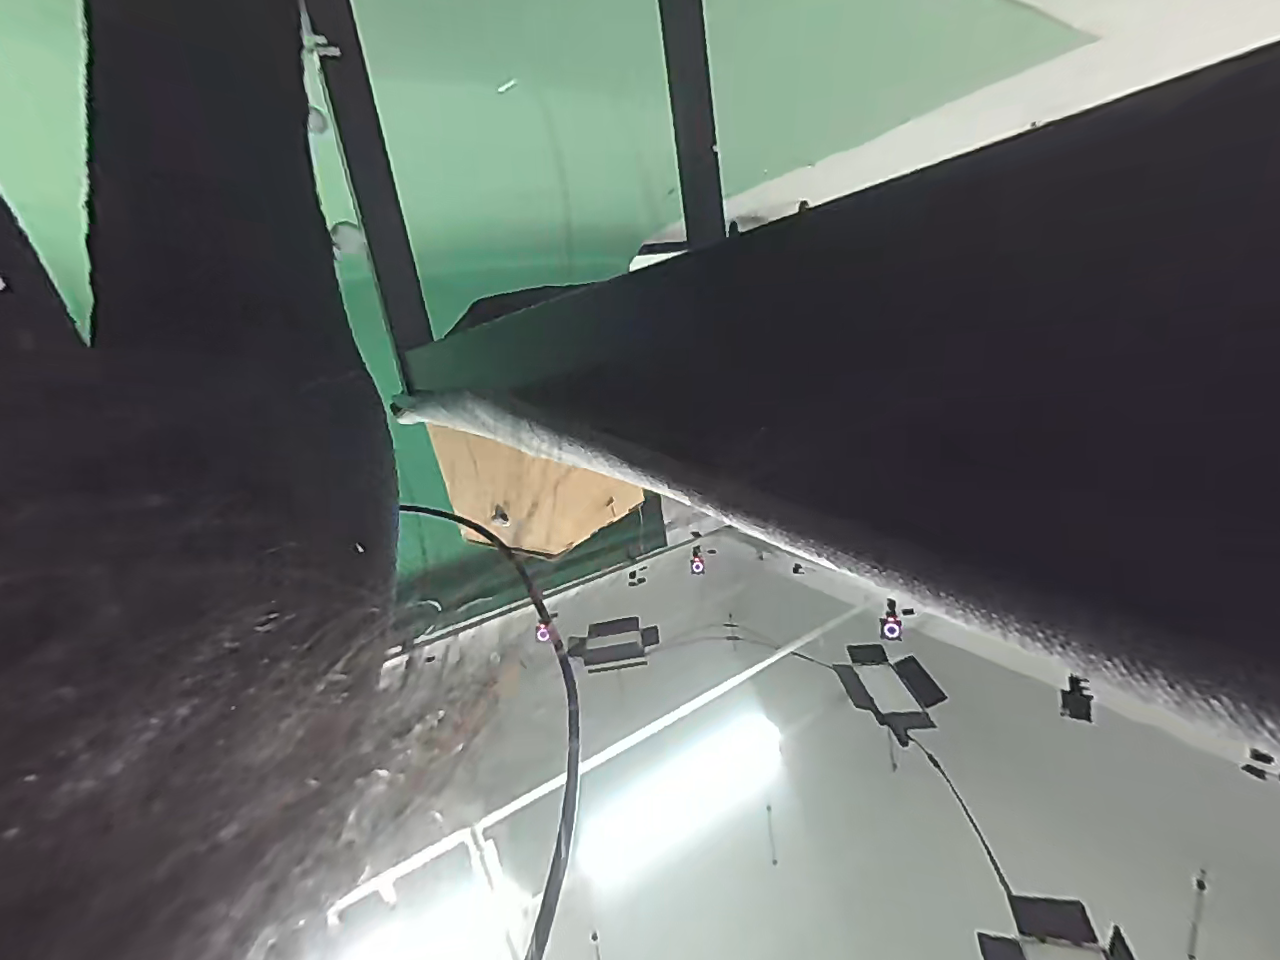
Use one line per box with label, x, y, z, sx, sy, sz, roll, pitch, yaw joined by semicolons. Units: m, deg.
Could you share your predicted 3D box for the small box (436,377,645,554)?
small box;-0.123;-0.027;0.670;0.179;0.176;0.168;2;-159;39
